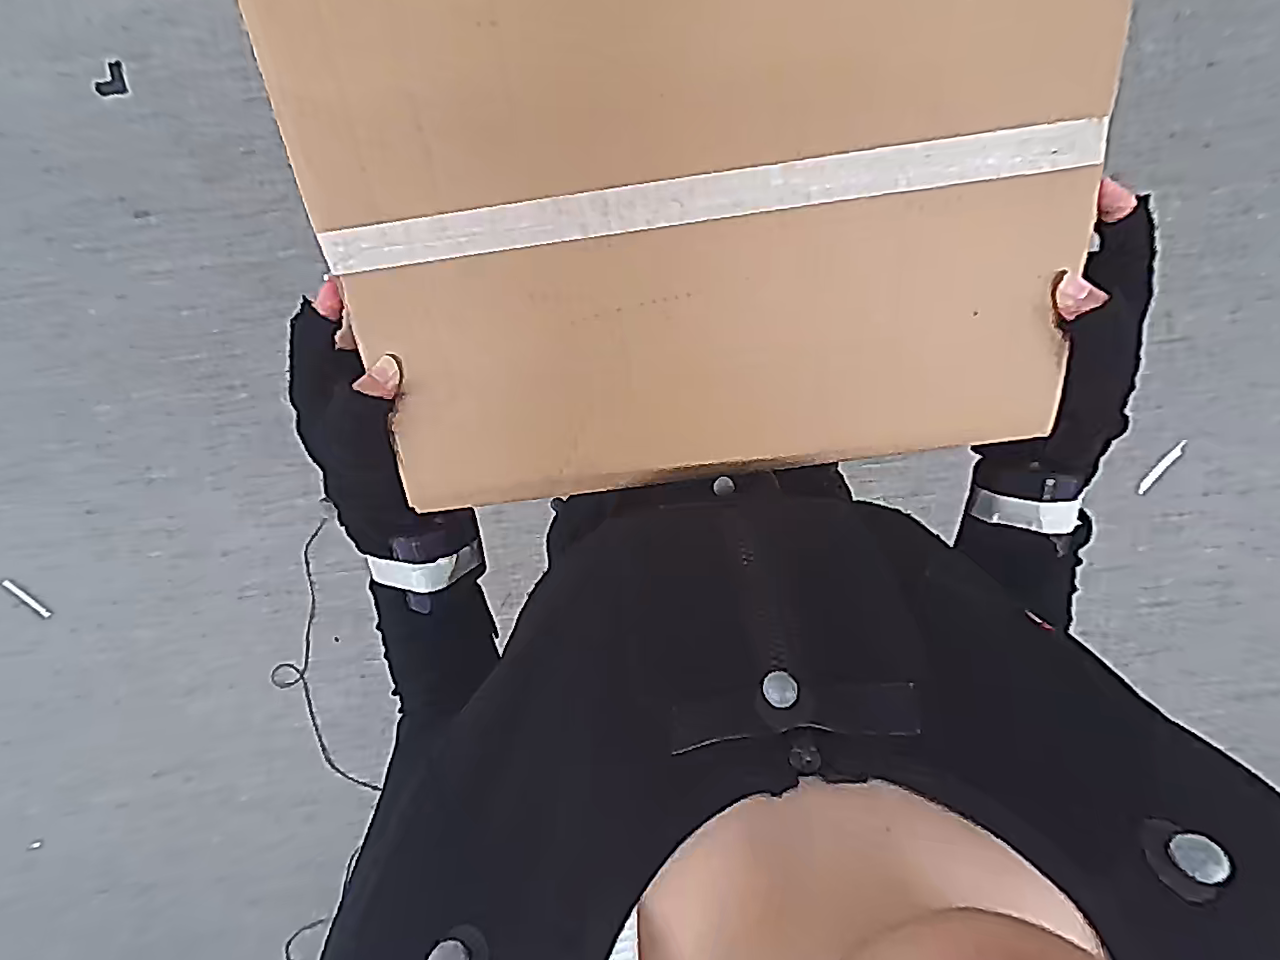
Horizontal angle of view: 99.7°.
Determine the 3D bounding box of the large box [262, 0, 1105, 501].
[{"bbox_3d":[0.028,-0.208,0.428,0.408,0.320,0.320,-7,114,2],"label":"large box"}]
